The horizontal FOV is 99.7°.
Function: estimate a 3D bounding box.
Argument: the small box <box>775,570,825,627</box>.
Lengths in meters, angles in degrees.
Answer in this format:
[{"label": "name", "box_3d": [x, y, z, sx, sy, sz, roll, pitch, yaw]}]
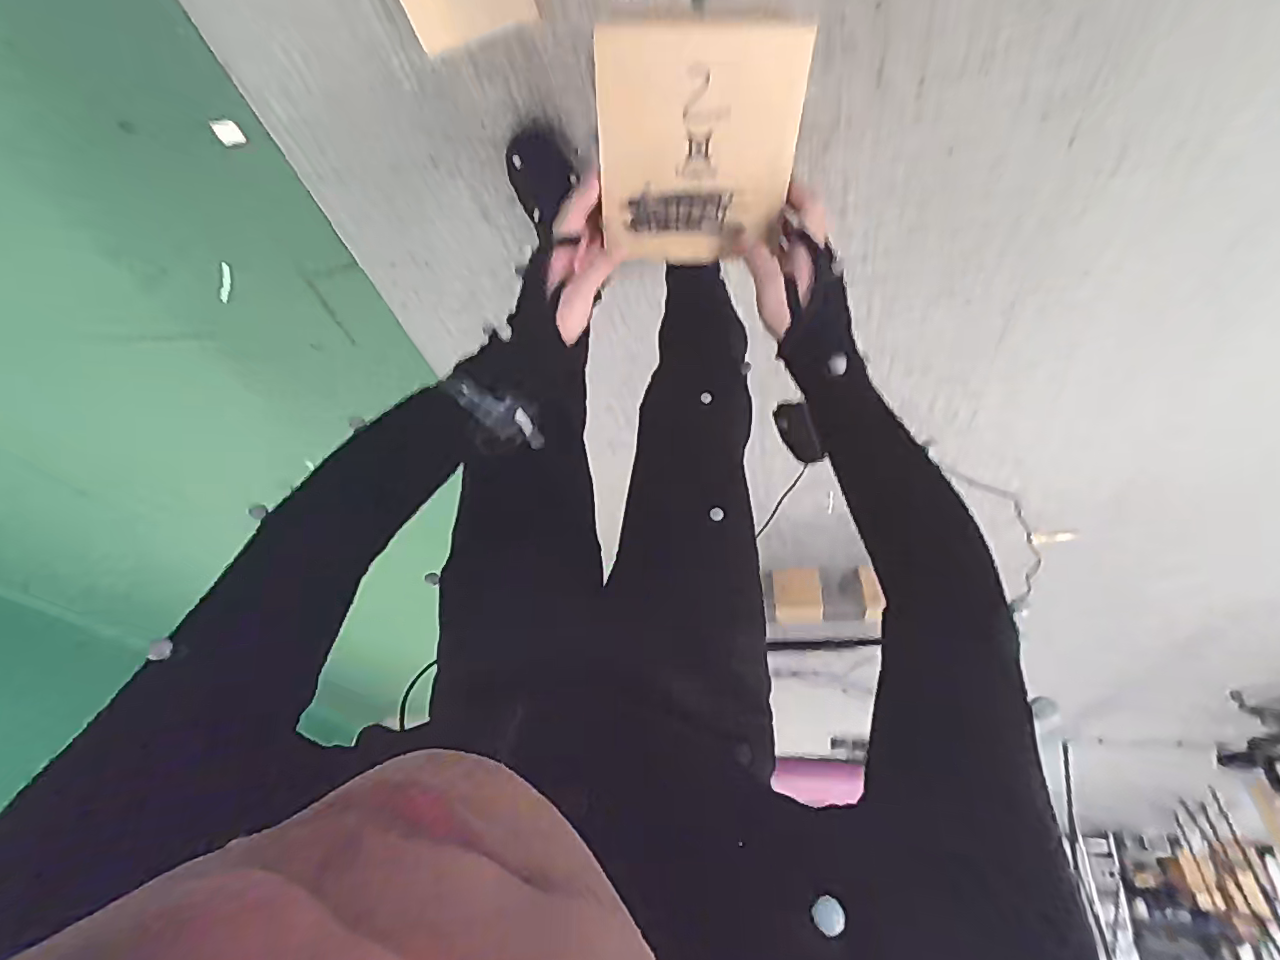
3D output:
[{"label": "small box", "box_3d": [0.623, 0.462, 2.113, 0.179, 0.176, 0.168, -5, 143, 14]}]

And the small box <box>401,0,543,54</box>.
[{"label": "small box", "box_3d": [-0.217, -0.679, 0.669, 0.168, 0.176, 0.179, -6, 142, 14]}]

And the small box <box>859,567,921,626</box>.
[{"label": "small box", "box_3d": [0.940, 0.439, 2.043, 0.179, 0.176, 0.168, -5, 142, 15]}]
